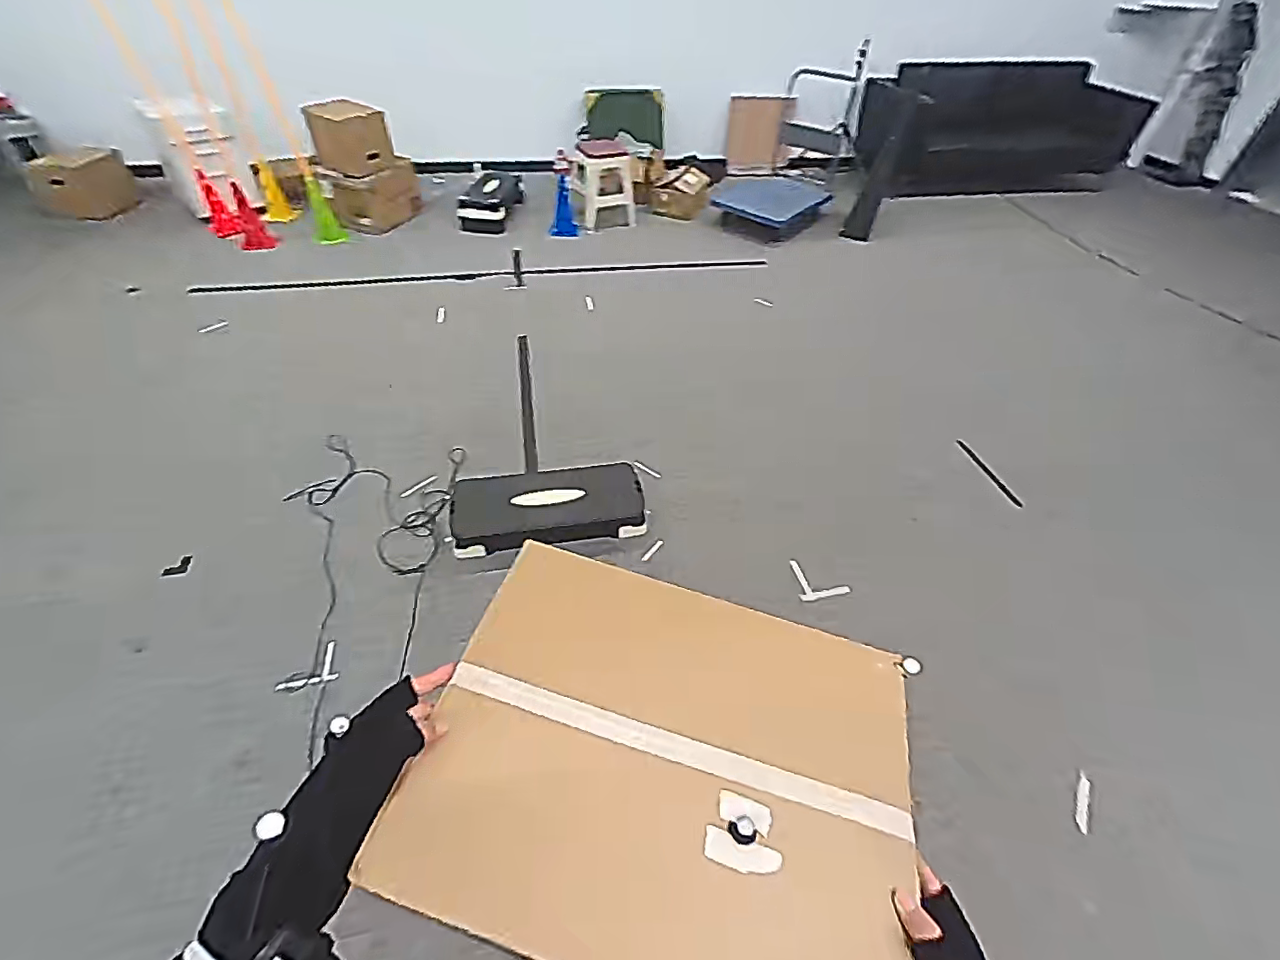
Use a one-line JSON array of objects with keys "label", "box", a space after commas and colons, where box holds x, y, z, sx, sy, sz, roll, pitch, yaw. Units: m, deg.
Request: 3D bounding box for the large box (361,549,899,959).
[{"label": "large box", "box": [0.002, 0.329, 0.583, 0.408, 0.320, 0.320, 16, 47, 5]}]
